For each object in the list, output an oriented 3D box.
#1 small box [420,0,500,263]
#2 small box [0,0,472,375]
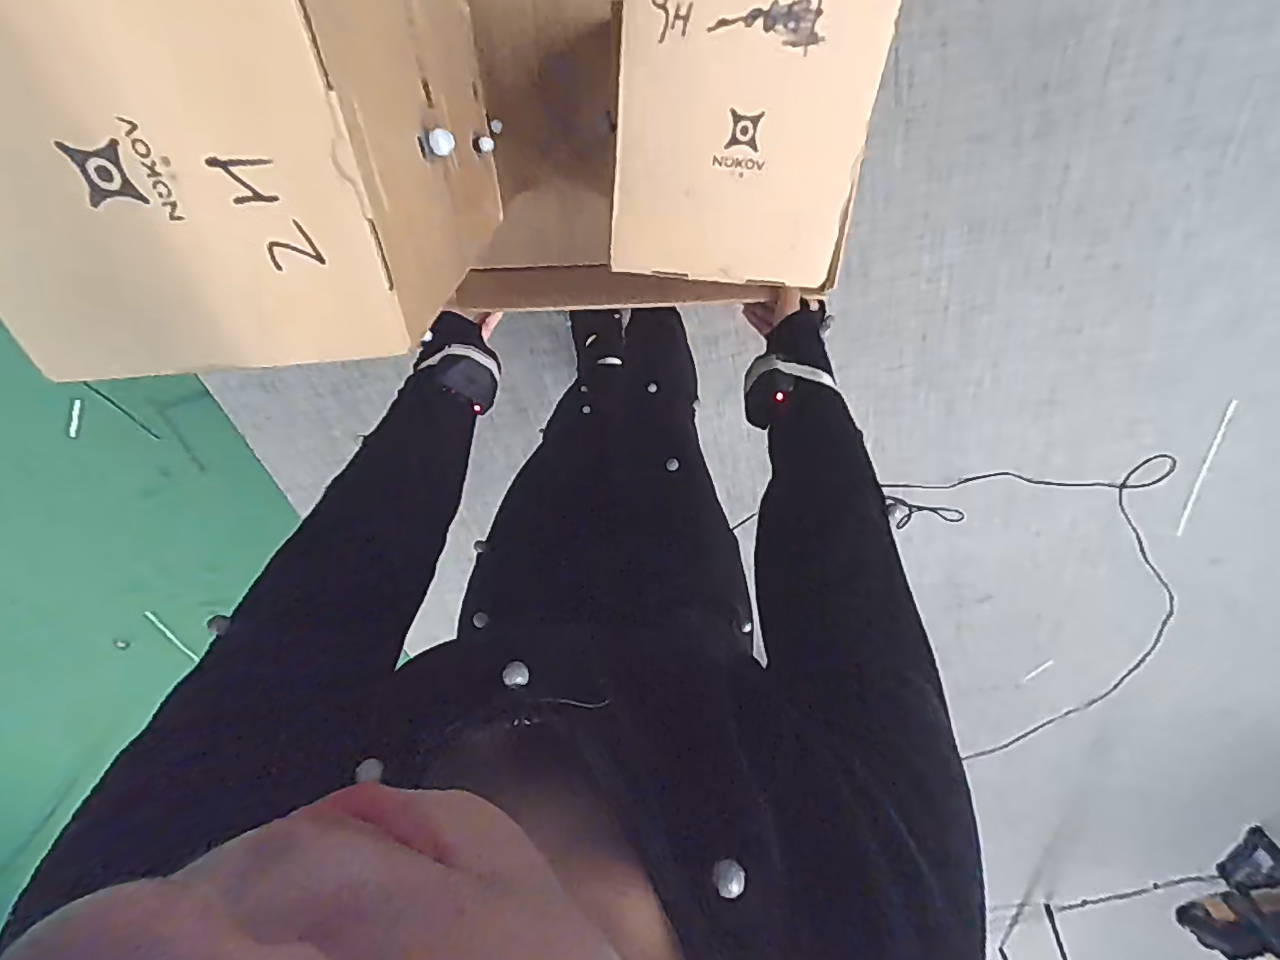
[{"bbox_3d":[-0.218,-0.267,0.413,0.179,0.176,0.168,-5,126,-3],"label":"small box"},{"bbox_3d":[-0.204,-0.169,0.281,0.179,0.176,0.168,-5,127,-2],"label":"small box"}]
